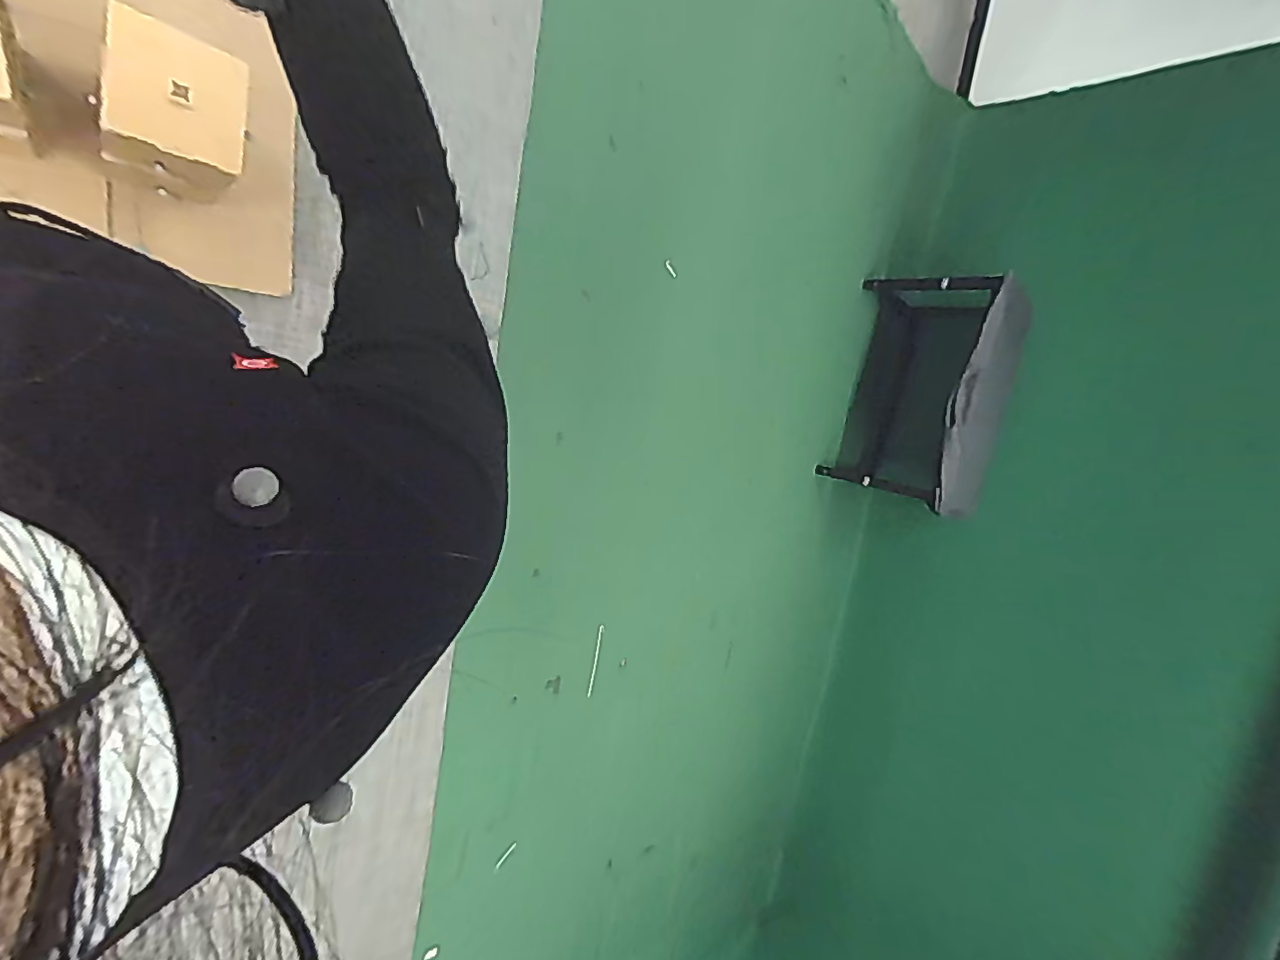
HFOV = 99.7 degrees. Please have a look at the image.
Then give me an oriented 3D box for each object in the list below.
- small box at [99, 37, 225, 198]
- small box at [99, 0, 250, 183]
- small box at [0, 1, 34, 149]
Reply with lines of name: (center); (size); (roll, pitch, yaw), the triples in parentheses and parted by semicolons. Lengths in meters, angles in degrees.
small box: (-0.866, -0.639, 0.982); (0.168, 0.176, 0.179); (-1, 104, -44)
small box: (-0.751, -0.610, 0.871); (0.168, 0.176, 0.179); (2, 102, -45)
small box: (-1.042, -0.621, 0.804); (0.168, 0.176, 0.179); (-8, 108, -44)
